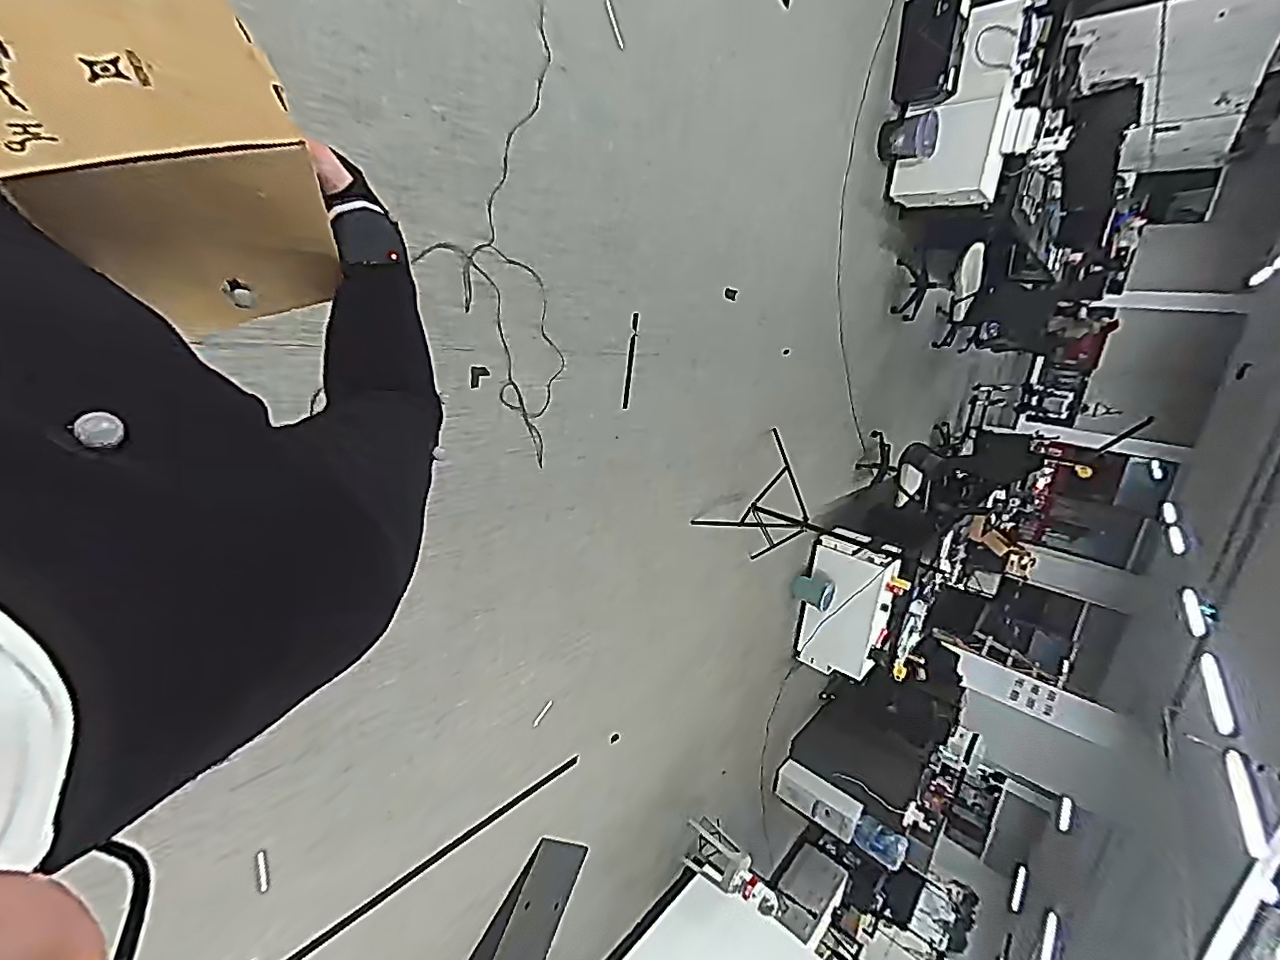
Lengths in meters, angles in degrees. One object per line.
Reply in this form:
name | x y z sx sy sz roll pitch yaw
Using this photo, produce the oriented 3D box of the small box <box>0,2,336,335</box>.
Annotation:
small box | -0.383 -0.254 0.459 0.179 0.168 0.176 -26 167 -26
